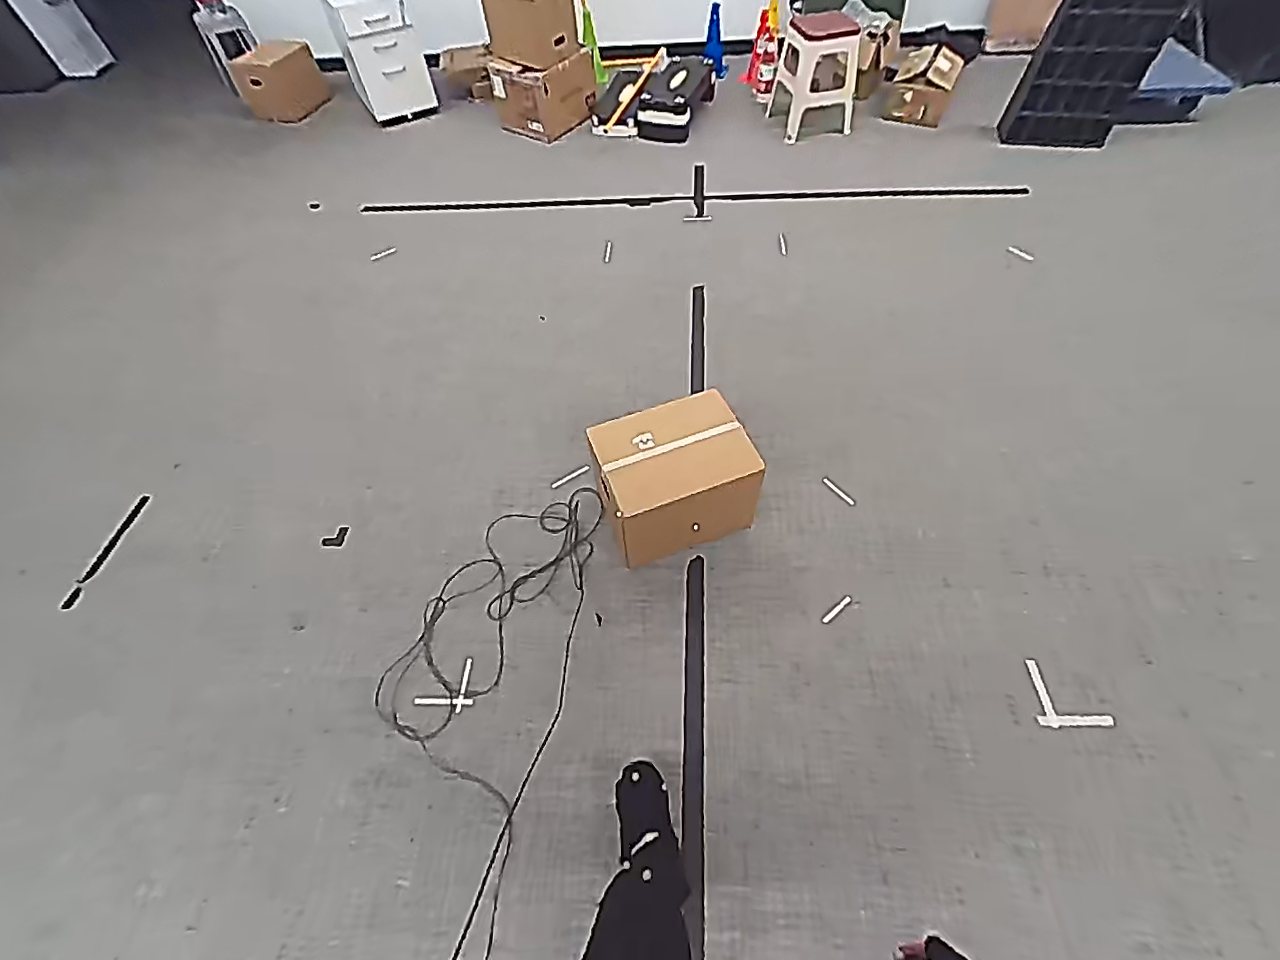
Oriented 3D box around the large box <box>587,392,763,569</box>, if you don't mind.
[{"bbox_3d":[0.096,0.006,1.589,0.408,0.320,0.320,-20,57,-9],"label":"large box"}]
